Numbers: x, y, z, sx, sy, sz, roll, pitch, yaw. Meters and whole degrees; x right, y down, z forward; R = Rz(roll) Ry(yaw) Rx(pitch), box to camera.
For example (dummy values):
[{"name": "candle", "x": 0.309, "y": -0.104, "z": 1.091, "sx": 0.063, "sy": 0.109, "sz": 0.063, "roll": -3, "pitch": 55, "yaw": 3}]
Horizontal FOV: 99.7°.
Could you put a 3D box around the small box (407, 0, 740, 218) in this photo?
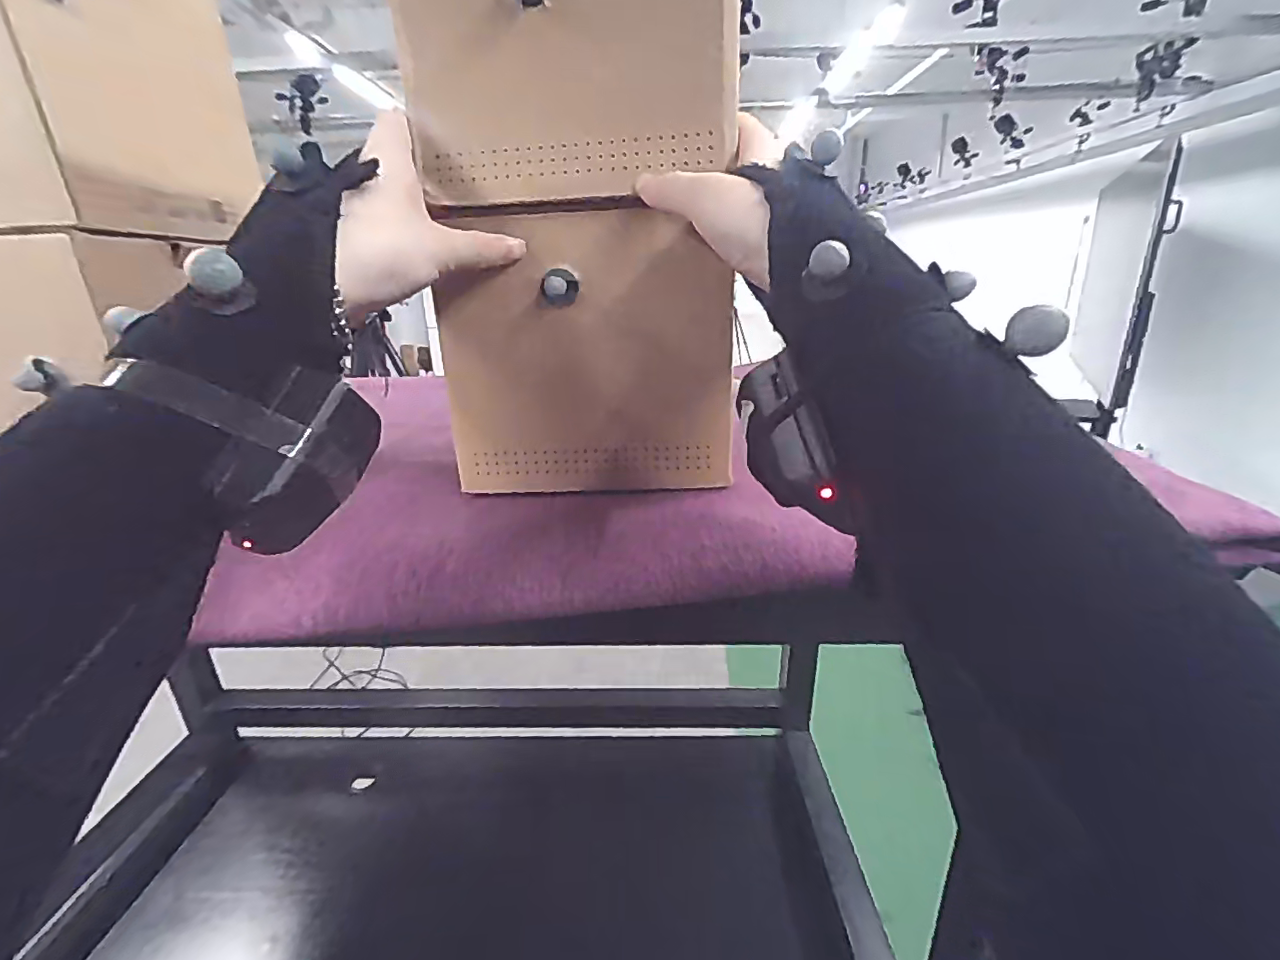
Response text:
[{"name": "small box", "x": -0.031, "y": -0.248, "z": 0.340, "sx": 0.179, "sy": 0.176, "sz": 0.168, "roll": -1, "pitch": 19, "yaw": 5}]

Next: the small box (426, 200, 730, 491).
[{"name": "small box", "x": -0.028, "y": -0.094, "z": 0.398, "sx": 0.179, "sy": 0.176, "sz": 0.168, "roll": -1, "pitch": 19, "yaw": 3}]

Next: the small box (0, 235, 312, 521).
[{"name": "small box", "x": -0.376, "y": -0.076, "z": 0.388, "sx": 0.179, "sy": 0.176, "sz": 0.168, "roll": -2, "pitch": 20, "yaw": 1}]
